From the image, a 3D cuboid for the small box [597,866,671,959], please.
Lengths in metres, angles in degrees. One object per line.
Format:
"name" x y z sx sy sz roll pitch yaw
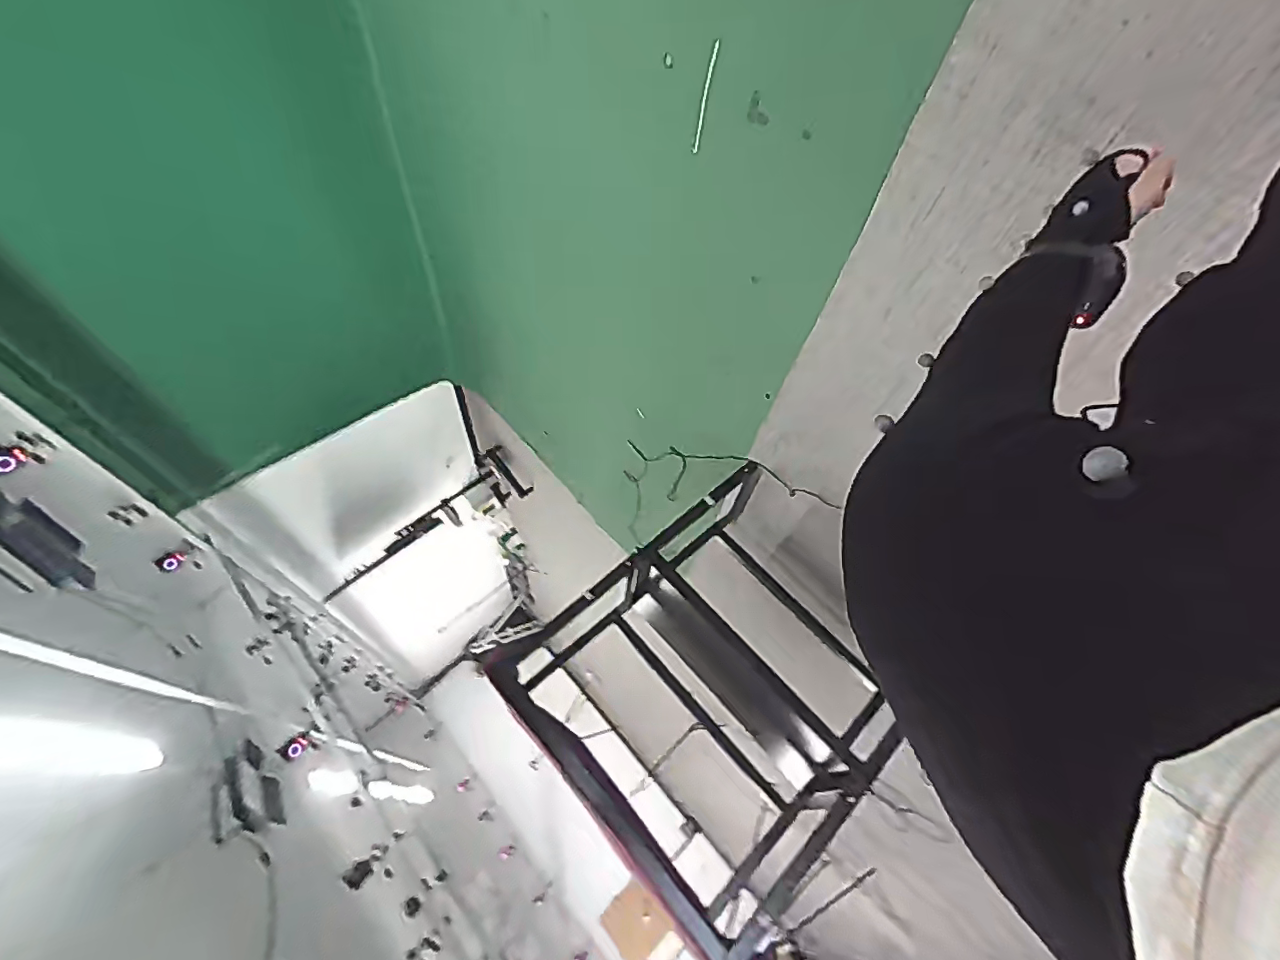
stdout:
"small box" -0.019 1.367 1.714 0.168 0.176 0.179 44 154 20
